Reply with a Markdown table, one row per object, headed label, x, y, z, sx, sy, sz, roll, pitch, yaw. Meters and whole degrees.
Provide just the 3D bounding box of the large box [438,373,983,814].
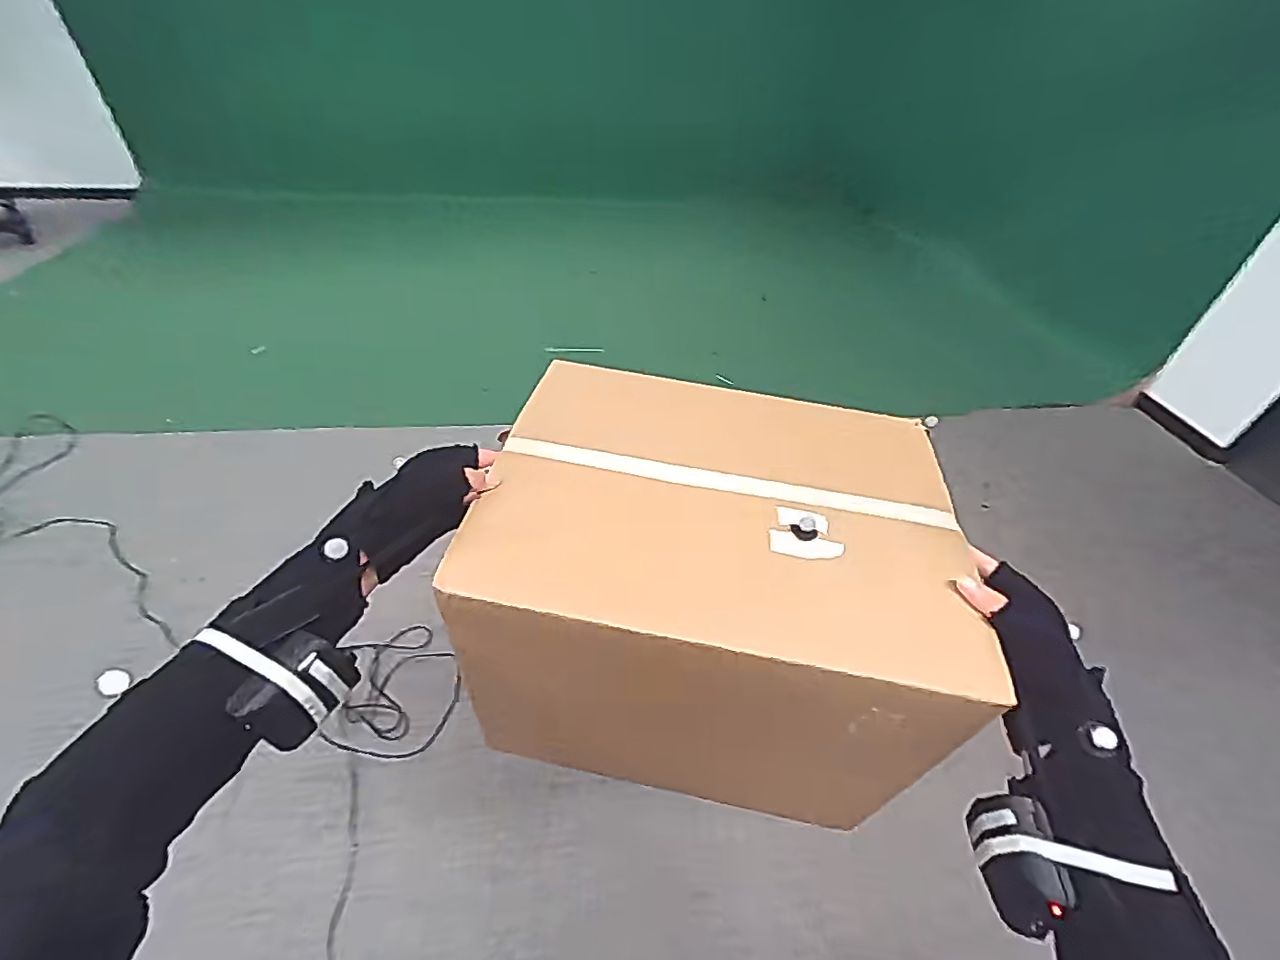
| label | x | y | z | sx | sy | sz | roll | pitch | yaw |
| --- | --- | --- | --- | --- | --- | --- | --- | --- | --- |
| large box | 0.052 | 0.119 | 0.592 | 0.408 | 0.320 | 0.320 | 10 | 44 | 3 |
